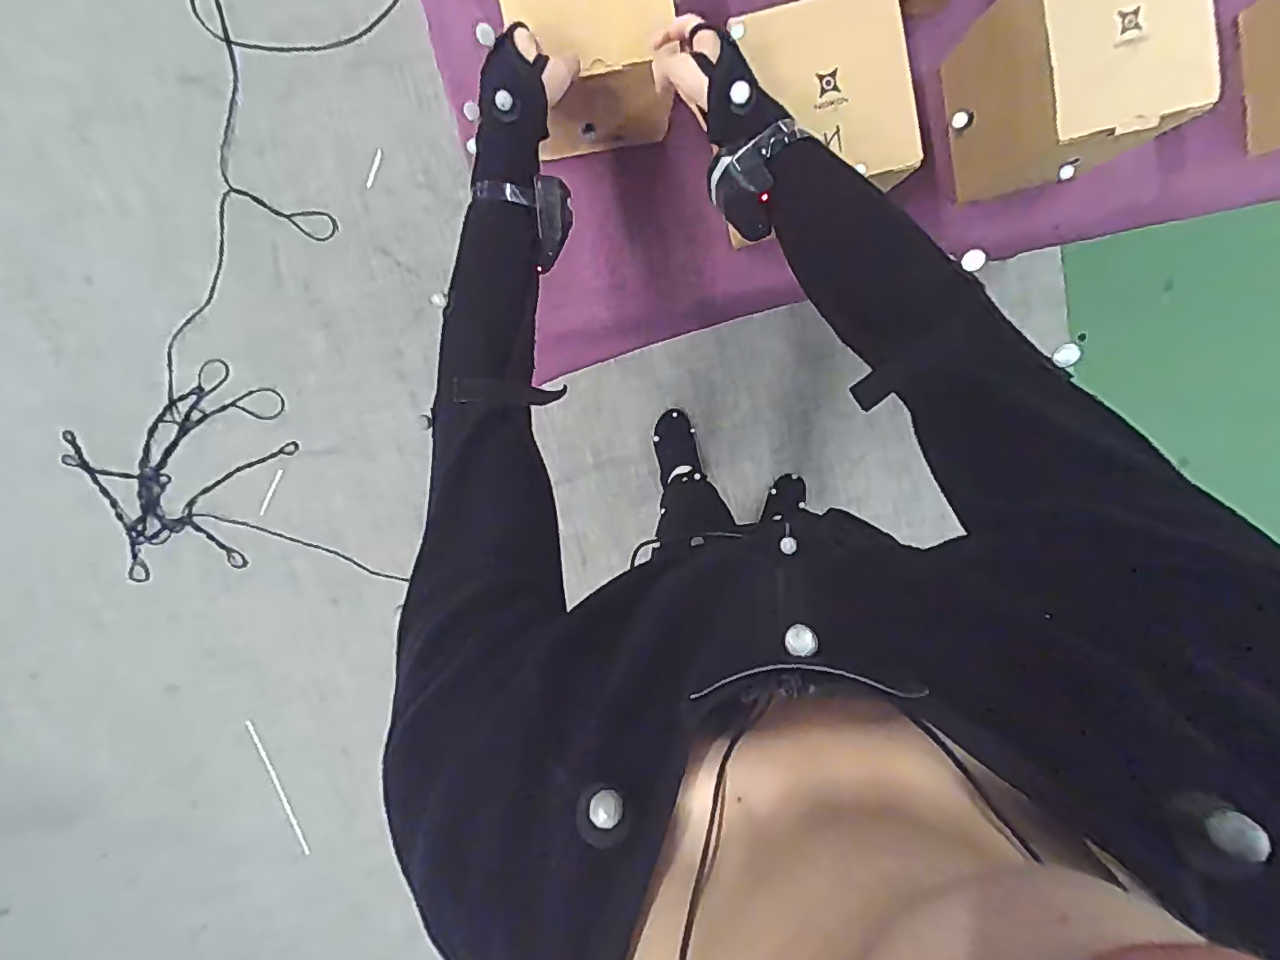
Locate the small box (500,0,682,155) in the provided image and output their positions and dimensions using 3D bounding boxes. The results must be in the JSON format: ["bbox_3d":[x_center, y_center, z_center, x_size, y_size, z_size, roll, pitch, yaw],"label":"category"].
[{"bbox_3d":[-0.059,-0.490,0.583,0.168,0.176,0.179,-11,100,-1],"label":"small box"}]

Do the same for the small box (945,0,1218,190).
[{"bbox_3d":[0.475,-0.450,0.604,0.168,0.176,0.179,-13,99,0],"label":"small box"}]

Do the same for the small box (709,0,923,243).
[{"bbox_3d":[0.182,-0.393,0.606,0.168,0.176,0.179,-14,99,2],"label":"small box"}]
